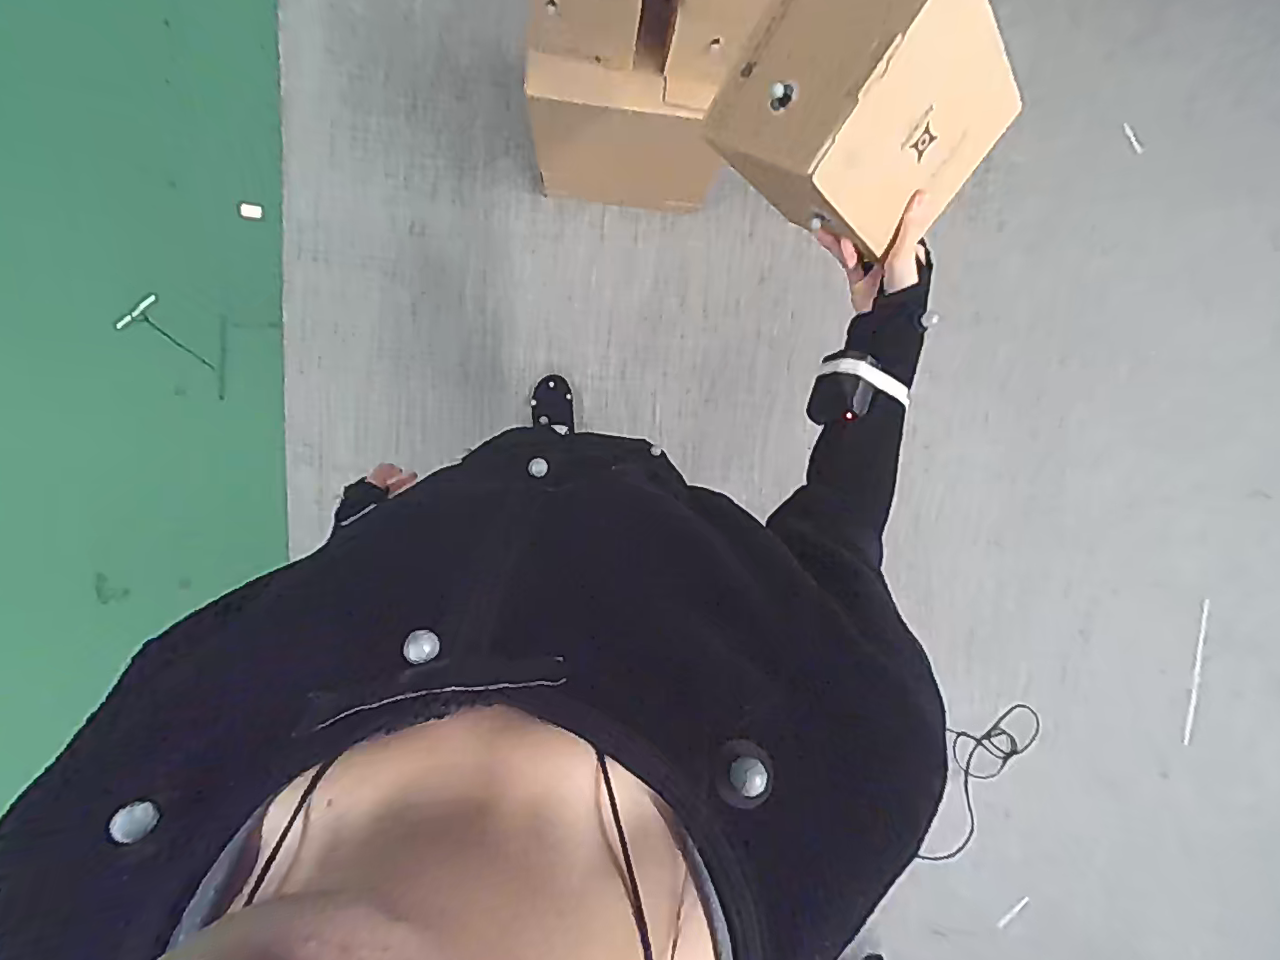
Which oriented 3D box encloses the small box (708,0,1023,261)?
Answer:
[{"bbox_3d":[0.196,-0.341,0.497,0.179,0.176,0.168,14,120,-43],"label":"small box"}]
